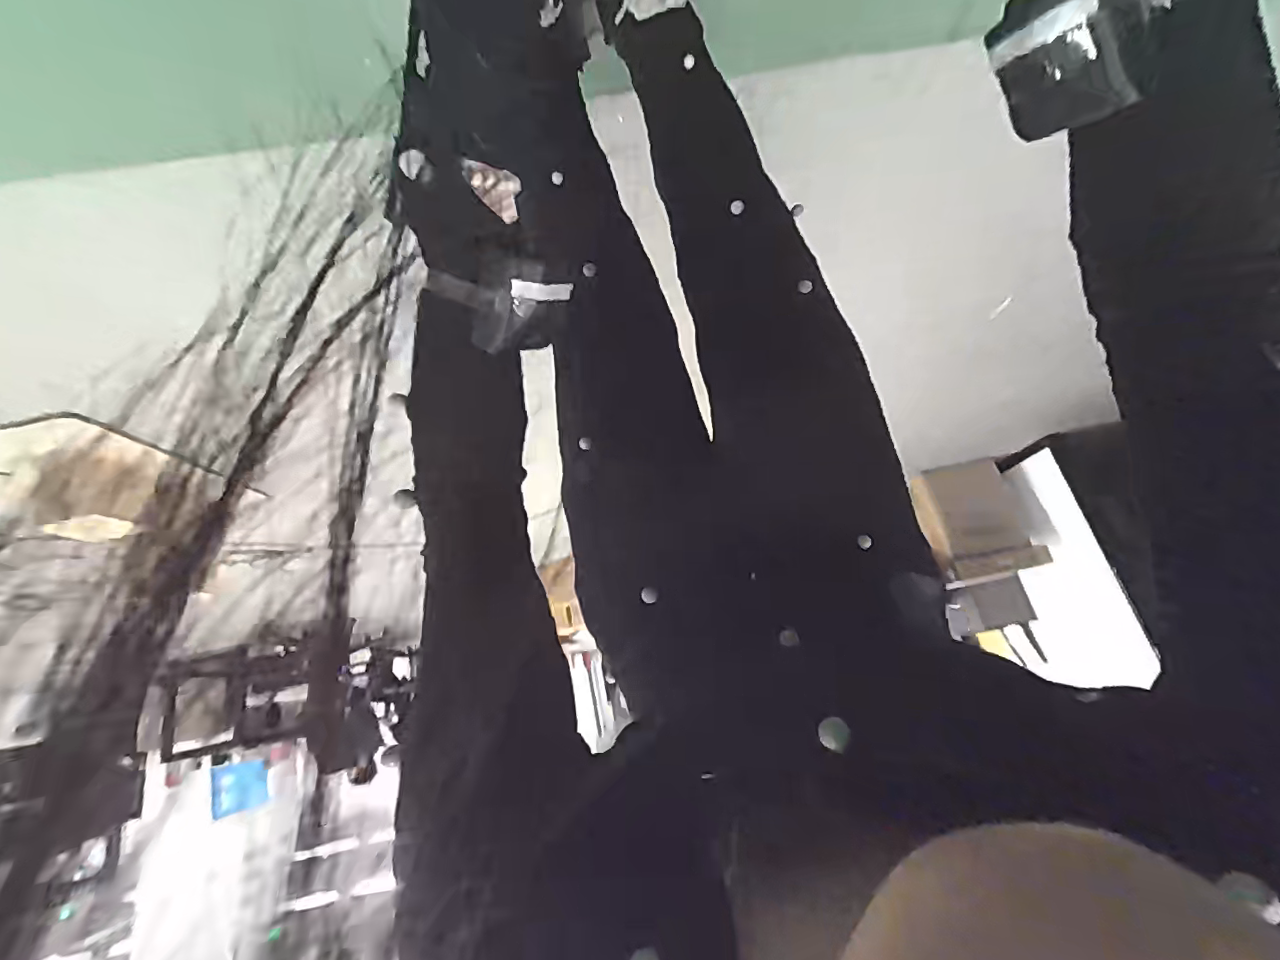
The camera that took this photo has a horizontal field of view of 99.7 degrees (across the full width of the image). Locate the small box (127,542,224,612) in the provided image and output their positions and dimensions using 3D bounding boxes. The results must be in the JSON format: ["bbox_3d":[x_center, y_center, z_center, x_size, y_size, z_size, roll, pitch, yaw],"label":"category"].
[{"bbox_3d":[-1.458,0.307,1.711,0.179,0.176,0.168,-12,161,-4],"label":"small box"}]

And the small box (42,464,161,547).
[{"bbox_3d":[-1.515,0.073,1.536,0.179,0.176,0.168,-14,160,0],"label":"small box"}]
